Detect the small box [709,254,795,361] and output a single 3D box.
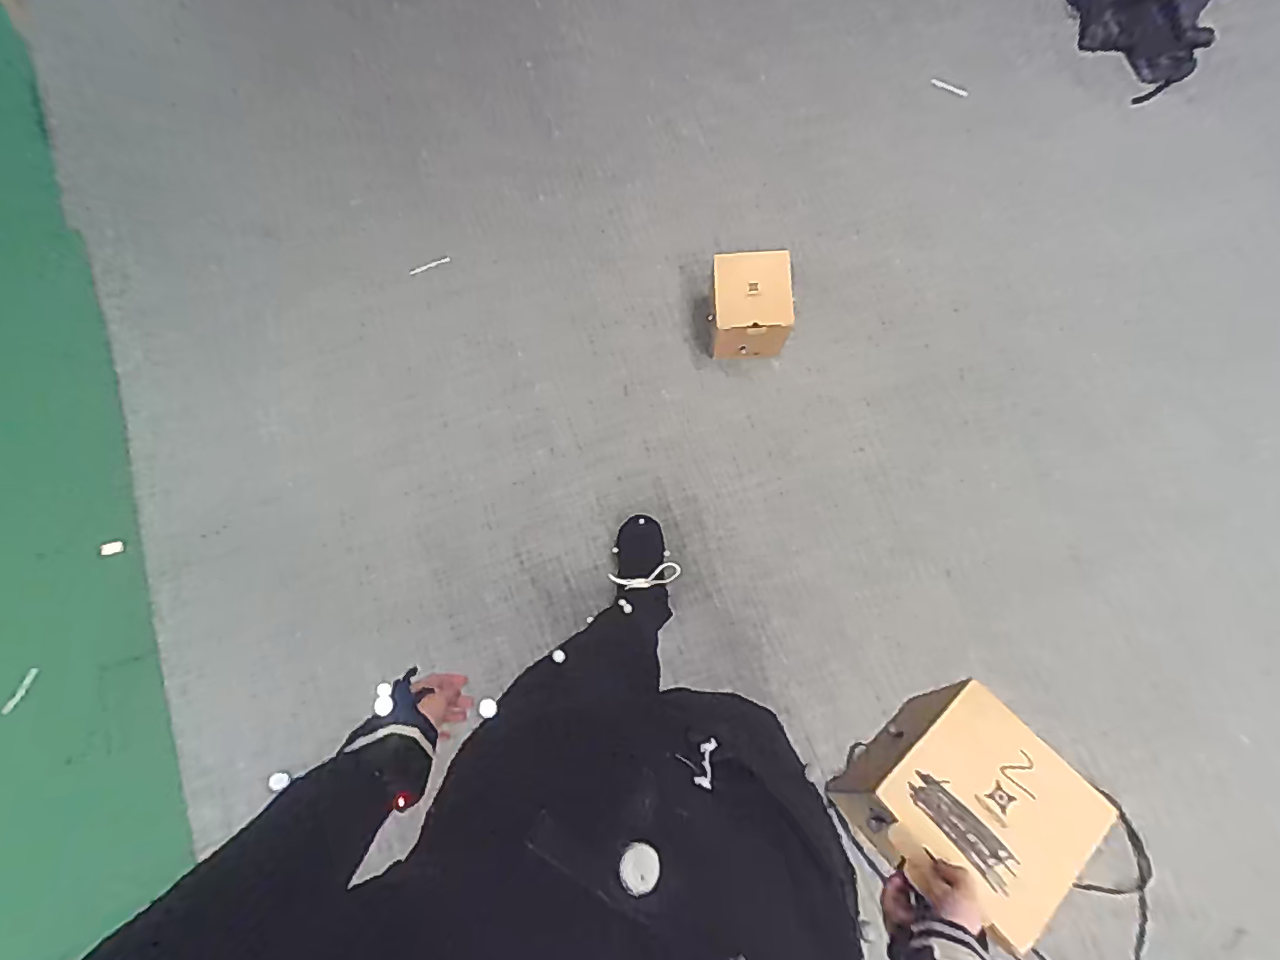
[{"bbox_3d":[0.247,-0.386,1.232,0.168,0.176,0.179,-2,80,3],"label":"small box"}]
